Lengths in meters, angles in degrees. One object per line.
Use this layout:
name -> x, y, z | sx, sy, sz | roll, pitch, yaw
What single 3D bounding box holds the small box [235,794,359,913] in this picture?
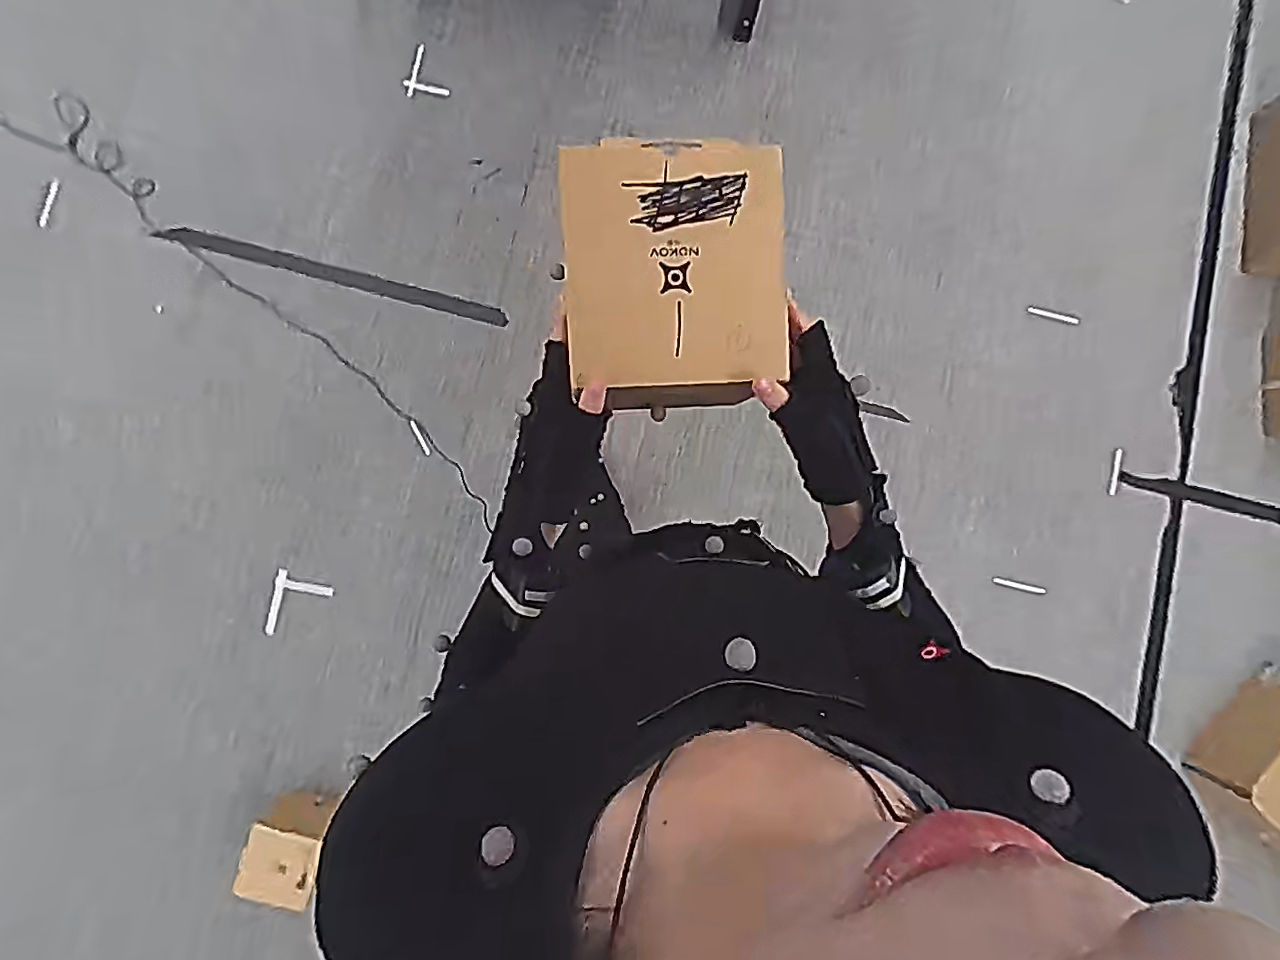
small box -> -0.844, 0.918, 1.348 | 0.179, 0.176, 0.168 | 16, 85, 0
